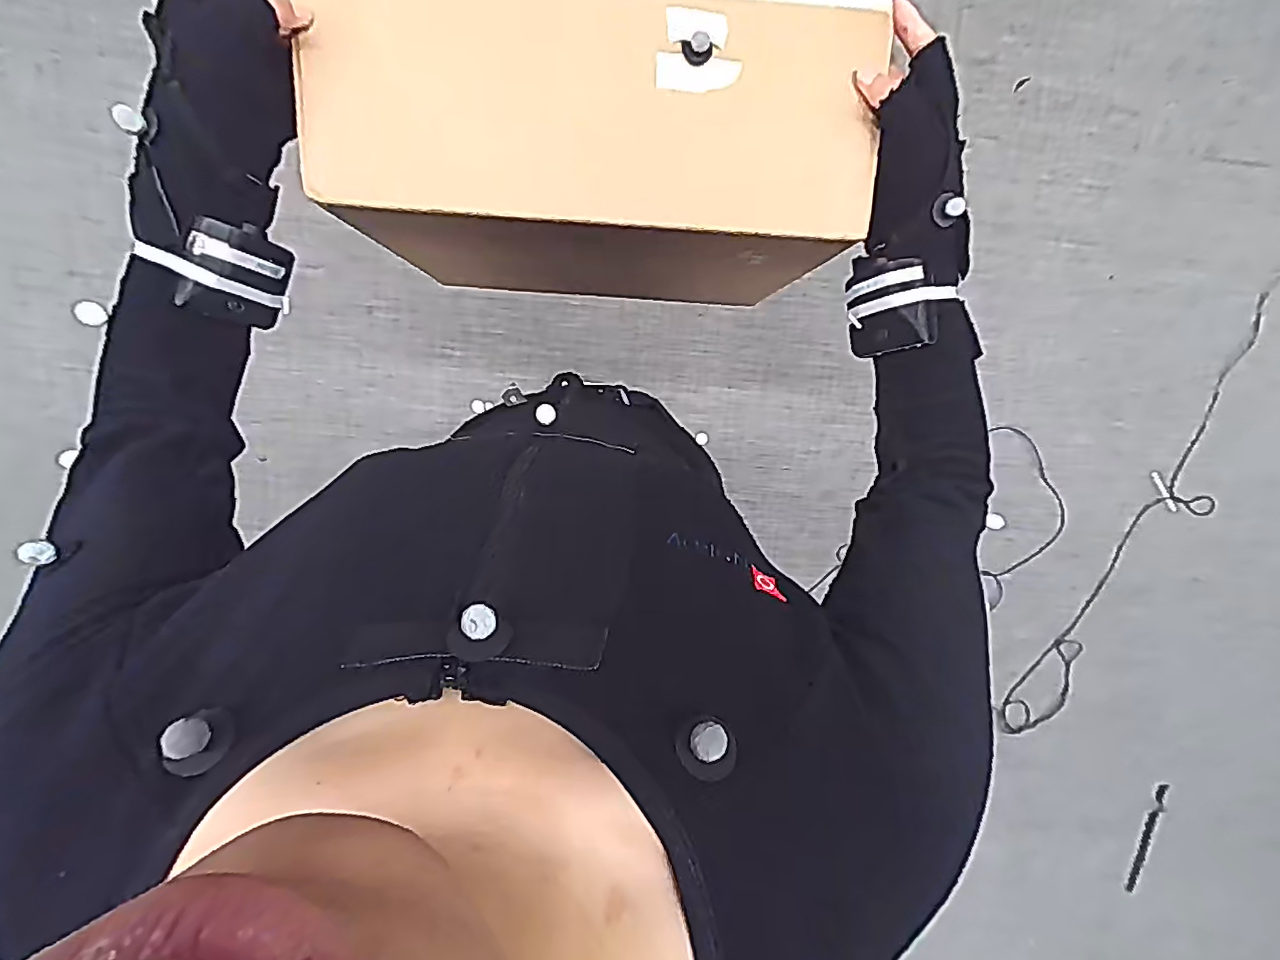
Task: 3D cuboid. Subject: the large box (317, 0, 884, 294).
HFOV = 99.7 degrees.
[{"bbox_3d":[-0.032,-0.372,0.523,0.408,0.320,0.320,2,100,-4],"label":"large box"}]
